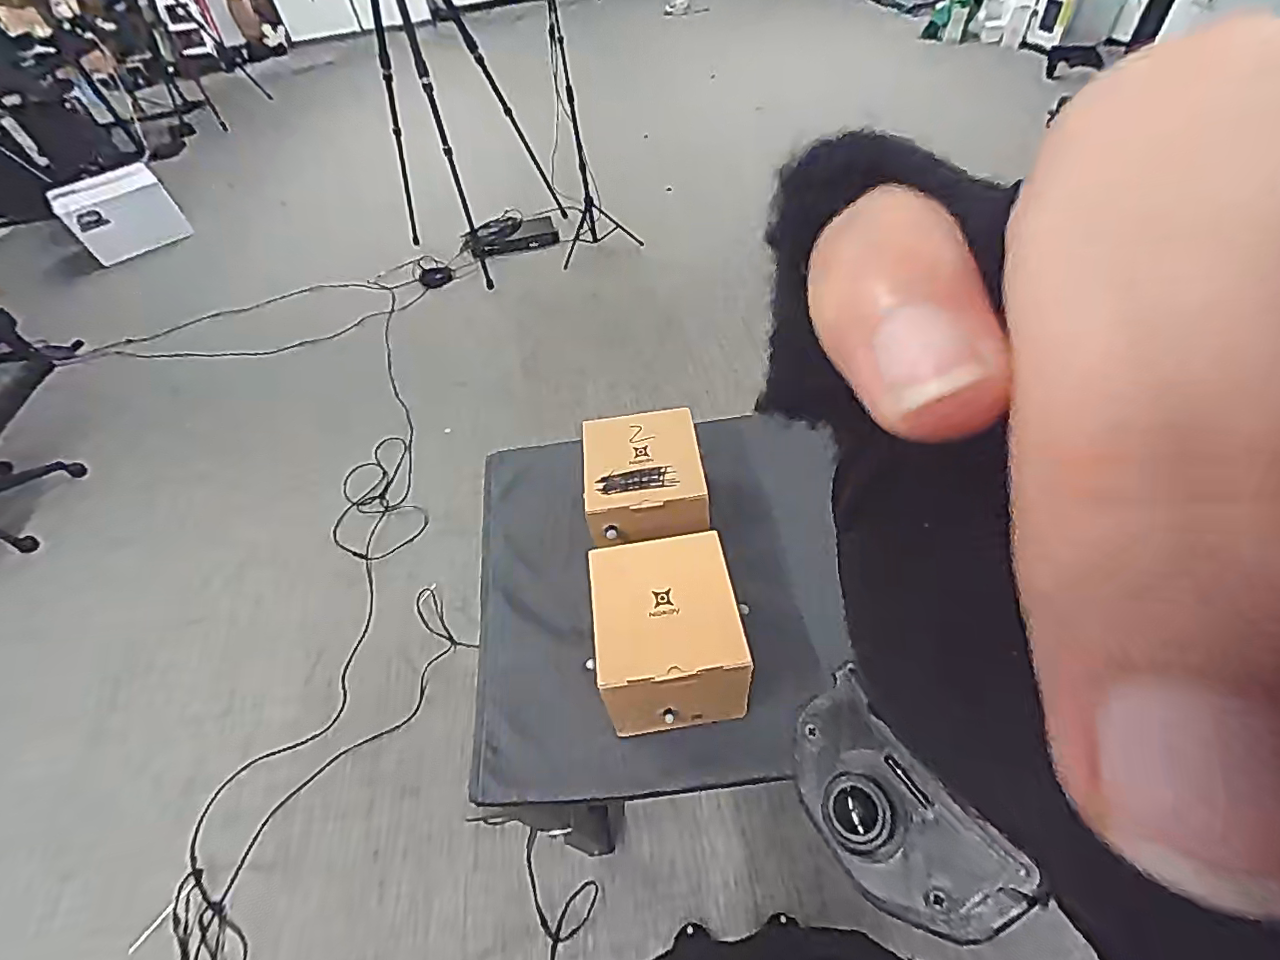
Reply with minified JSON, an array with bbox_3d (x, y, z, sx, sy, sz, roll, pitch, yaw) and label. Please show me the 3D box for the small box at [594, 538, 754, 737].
[{"bbox_3d":[0.038,0.200,0.685,0.168,0.176,0.179,-9,48,-1],"label":"small box"}]
